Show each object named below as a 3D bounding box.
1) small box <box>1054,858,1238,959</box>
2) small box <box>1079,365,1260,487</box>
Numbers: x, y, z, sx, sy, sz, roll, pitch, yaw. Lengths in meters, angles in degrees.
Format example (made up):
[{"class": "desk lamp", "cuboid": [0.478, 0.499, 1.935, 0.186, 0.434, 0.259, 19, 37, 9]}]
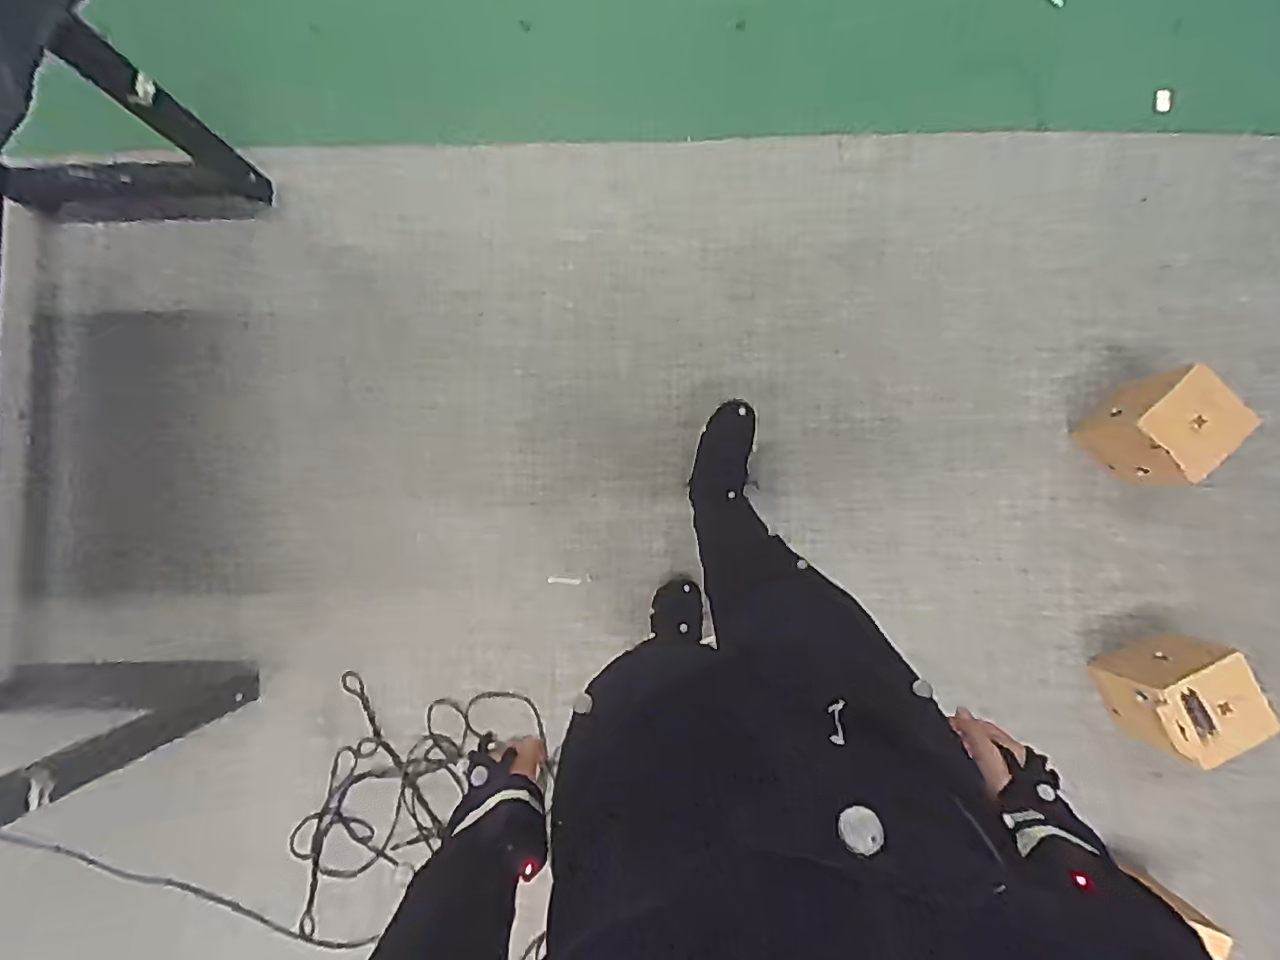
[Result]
[{"class": "small box", "cuboid": [0.969, 0.886, 1.051, 0.179, 0.176, 0.168, 19, 88, 3]}, {"class": "small box", "cuboid": [1.055, -0.098, 1.100, 0.179, 0.176, 0.168, -44, 88, -2]}]
